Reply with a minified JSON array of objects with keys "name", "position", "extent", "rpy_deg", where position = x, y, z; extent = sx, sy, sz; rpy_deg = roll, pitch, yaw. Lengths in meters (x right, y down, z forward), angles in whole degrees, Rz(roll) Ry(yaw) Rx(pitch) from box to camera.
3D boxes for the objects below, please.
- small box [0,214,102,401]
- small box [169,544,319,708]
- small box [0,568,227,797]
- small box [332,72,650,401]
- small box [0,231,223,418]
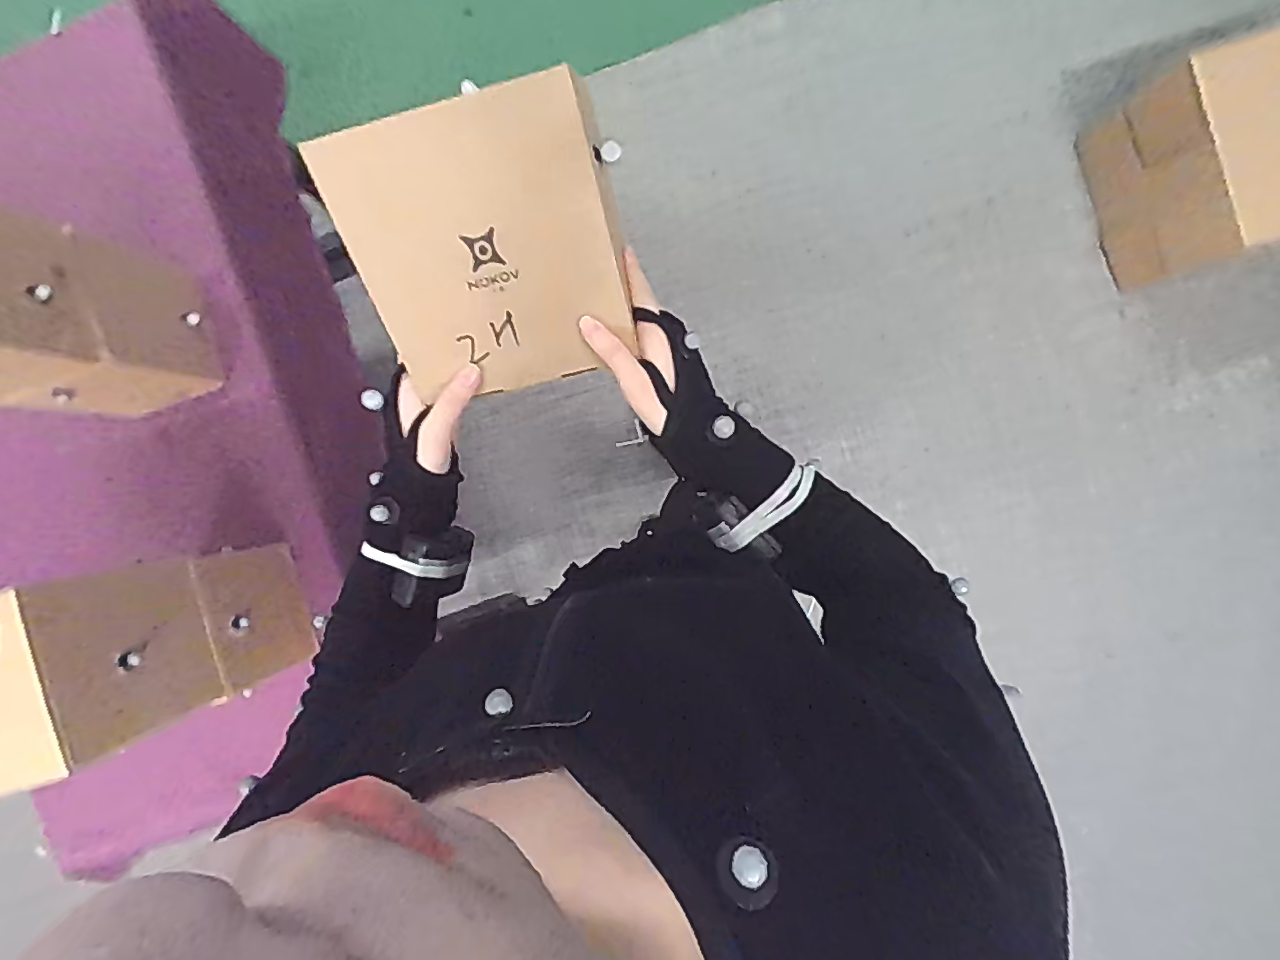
[{"name":"small box","position":[-0.745,-0.185,0.569],"extent":[0.179,0.176,0.168],"rpy_deg":[-17,91,4]},{"name":"small box","position":[-0.576,0.200,0.731],"extent":[0.168,0.176,0.179],"rpy_deg":[-17,90,4]},{"name":"small box","position":[-0.593,0.200,0.568],"extent":[0.168,0.176,0.179],"rpy_deg":[-17,91,4]},{"name":"small box","position":[-0.090,-0.187,0.425],"extent":[0.168,0.176,0.179],"rpy_deg":[-10,122,6]},{"name":"small box","position":[-0.723,-0.195,0.730],"extent":[0.168,0.176,0.179],"rpy_deg":[-18,90,5]}]
